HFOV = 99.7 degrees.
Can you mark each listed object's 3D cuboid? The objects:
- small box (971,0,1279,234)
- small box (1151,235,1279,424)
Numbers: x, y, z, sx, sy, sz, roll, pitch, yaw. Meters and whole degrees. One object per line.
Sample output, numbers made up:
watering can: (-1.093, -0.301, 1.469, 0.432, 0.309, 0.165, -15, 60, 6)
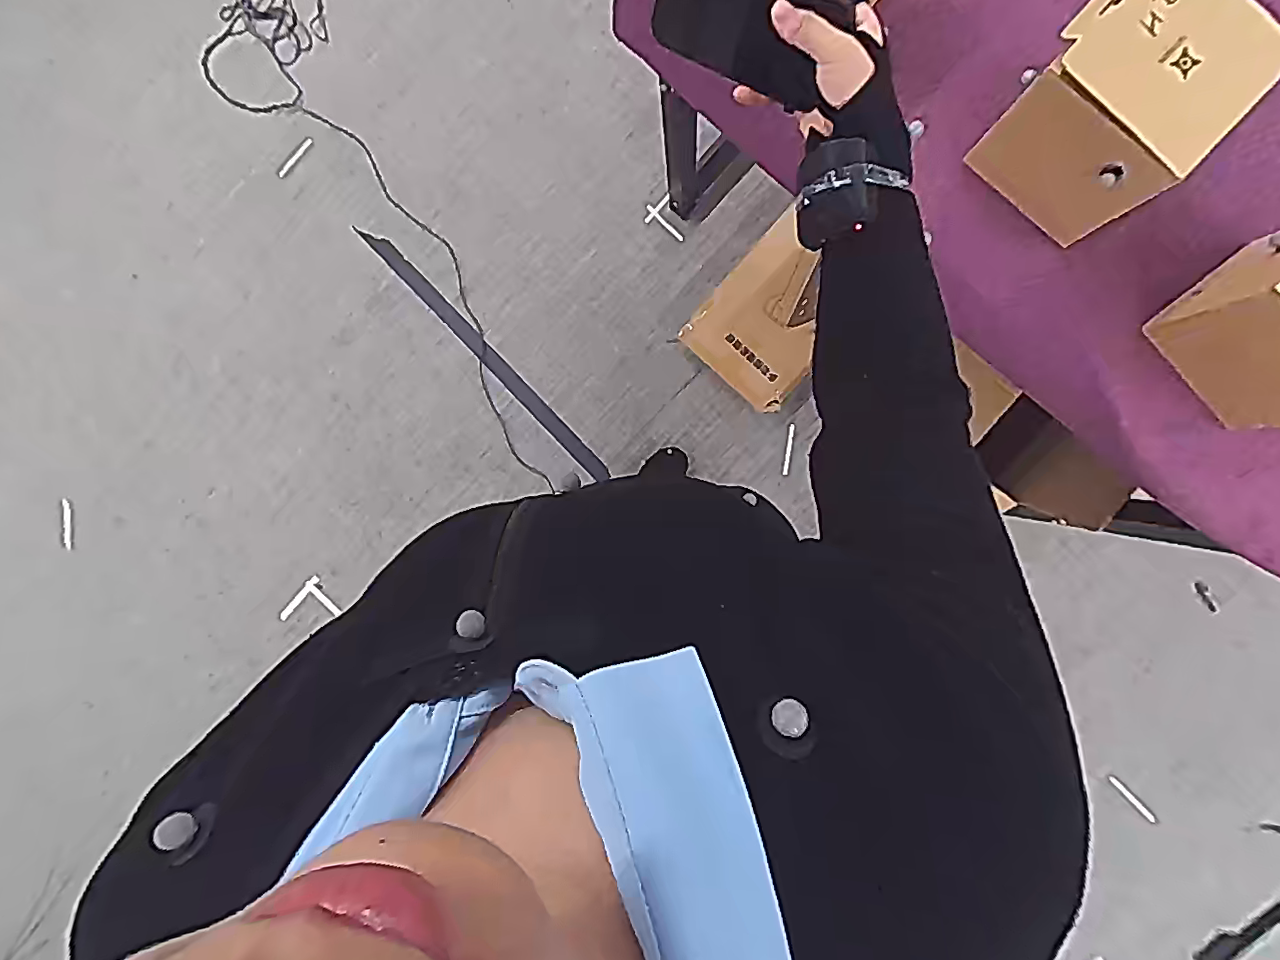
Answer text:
small box: (0.532, -0.412, 0.611, 0.179, 0.176, 0.168, 43, 93, 3)
small box: (0.748, -0.178, 0.600, 0.168, 0.176, 0.179, -40, 89, 5)
